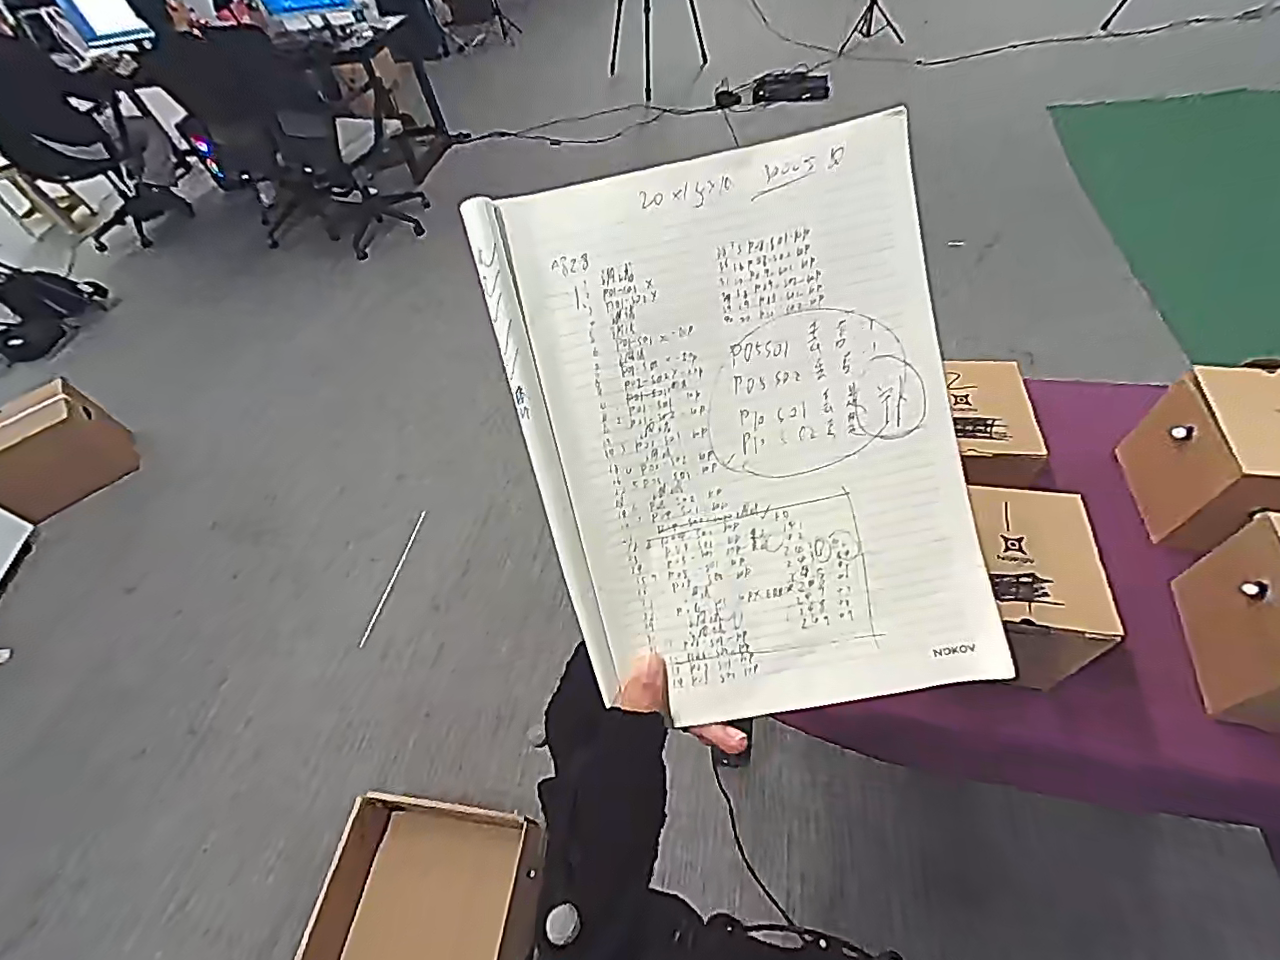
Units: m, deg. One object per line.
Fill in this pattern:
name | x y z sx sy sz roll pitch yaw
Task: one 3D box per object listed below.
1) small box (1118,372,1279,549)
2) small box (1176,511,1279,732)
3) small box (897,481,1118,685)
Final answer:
small box | 0.780 -0.018 0.700 0.168 0.176 0.179 4 54 13
small box | 0.727 0.161 0.569 0.168 0.176 0.179 9 55 17
small box | 0.416 0.126 0.650 0.168 0.176 0.179 7 54 15
